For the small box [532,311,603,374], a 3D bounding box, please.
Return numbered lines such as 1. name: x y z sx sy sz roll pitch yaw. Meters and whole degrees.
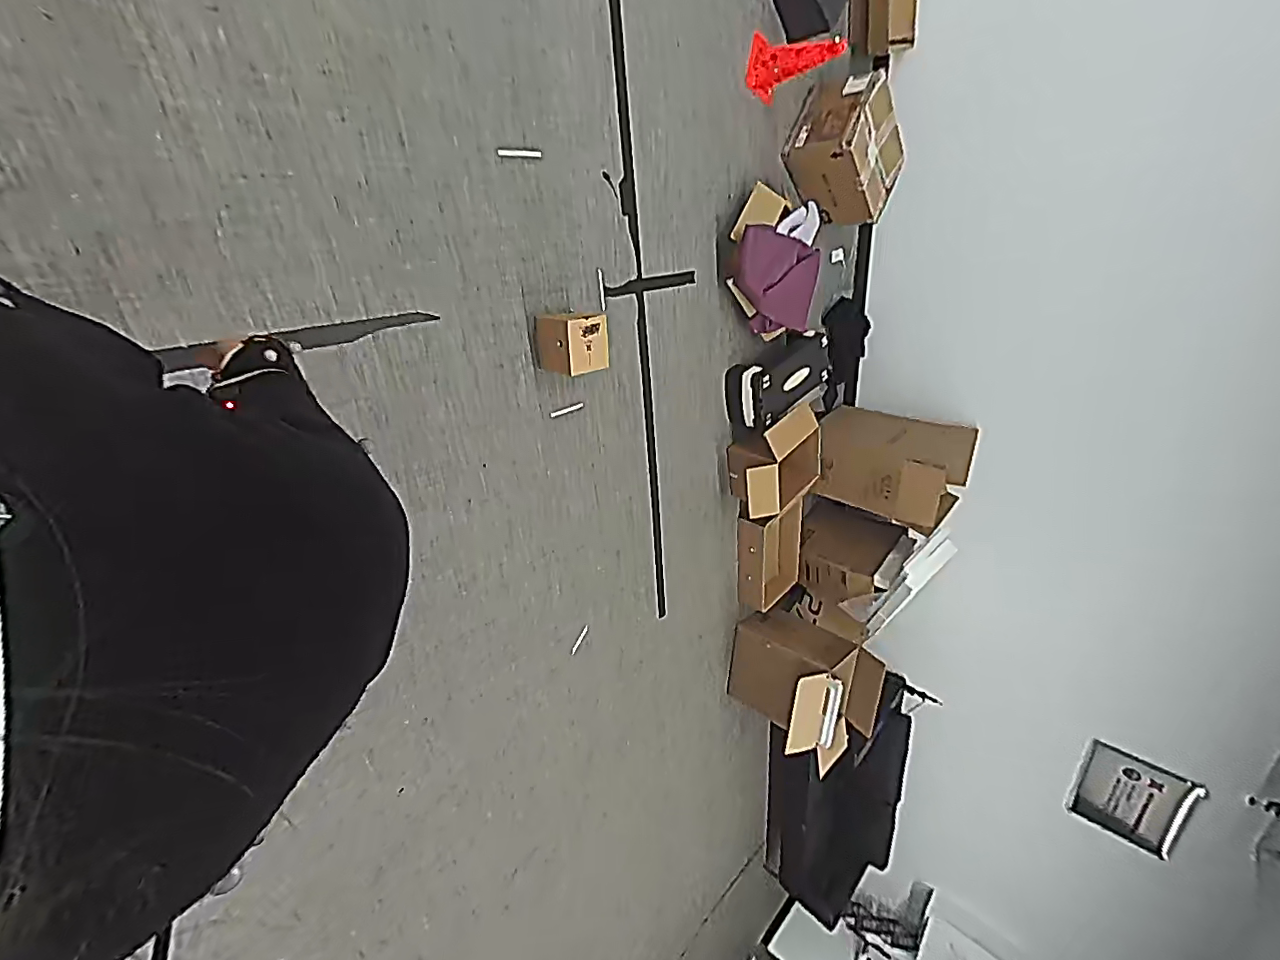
1. small box: -0.242 -0.461 1.790 0.168 0.176 0.179 -24 123 -41
